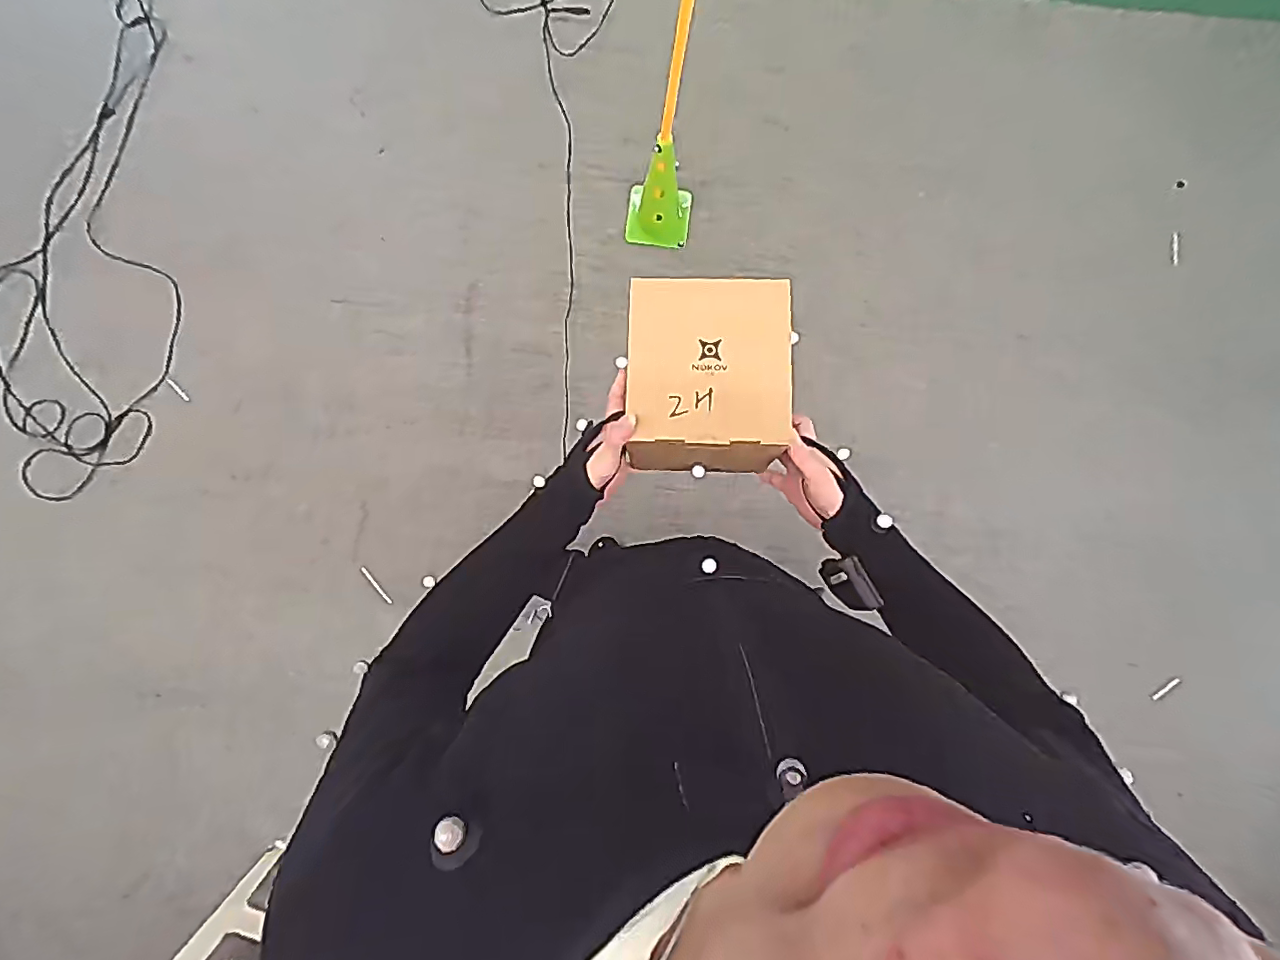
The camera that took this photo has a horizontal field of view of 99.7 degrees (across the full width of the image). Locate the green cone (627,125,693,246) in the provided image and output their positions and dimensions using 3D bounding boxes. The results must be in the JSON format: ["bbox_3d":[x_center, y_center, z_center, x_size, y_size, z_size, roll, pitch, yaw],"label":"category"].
[{"bbox_3d":[0.063,-0.873,1.563,0.202,0.368,0.200,6,83,1],"label":"green cone"}]
